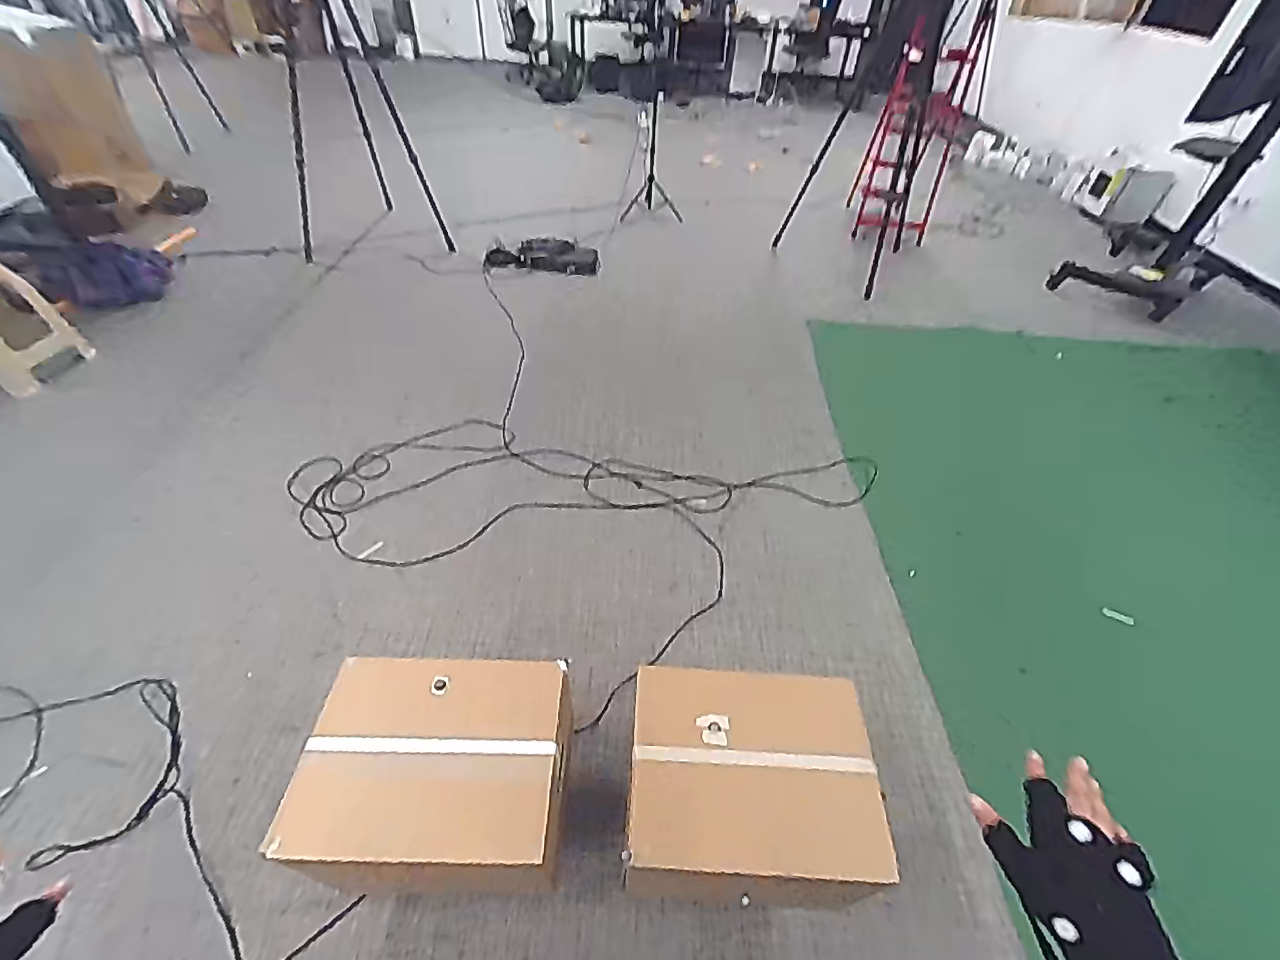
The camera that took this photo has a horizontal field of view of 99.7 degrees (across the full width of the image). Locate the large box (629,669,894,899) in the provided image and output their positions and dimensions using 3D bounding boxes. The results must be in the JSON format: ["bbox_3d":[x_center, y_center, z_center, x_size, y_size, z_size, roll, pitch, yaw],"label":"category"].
[{"bbox_3d":[0.189,0.578,1.023,0.408,0.320,0.320,3,45,1],"label":"large box"}]
